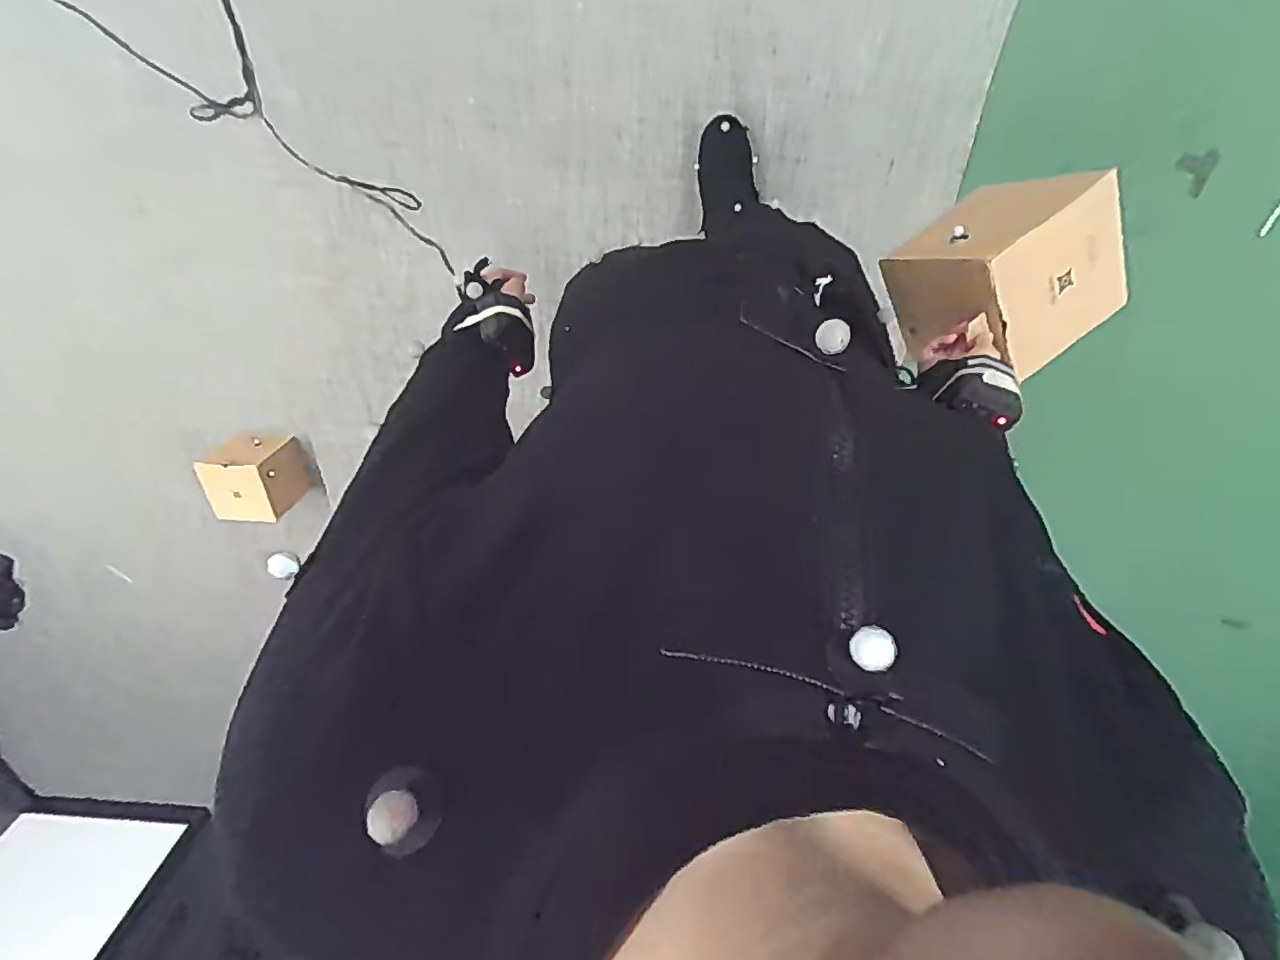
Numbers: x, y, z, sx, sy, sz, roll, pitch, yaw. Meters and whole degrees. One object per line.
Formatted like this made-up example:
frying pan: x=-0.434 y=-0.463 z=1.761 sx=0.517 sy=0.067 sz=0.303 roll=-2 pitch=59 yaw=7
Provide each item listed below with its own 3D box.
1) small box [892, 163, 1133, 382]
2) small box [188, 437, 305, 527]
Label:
small box: x=0.441 y=-0.247 z=0.663 sx=0.179 sy=0.176 sz=0.168 roll=-38 pitch=118 yaw=-3
small box: x=-1.035 y=0.003 z=1.442 sx=0.168 sy=0.176 sz=0.179 roll=3 pitch=120 yaw=1
